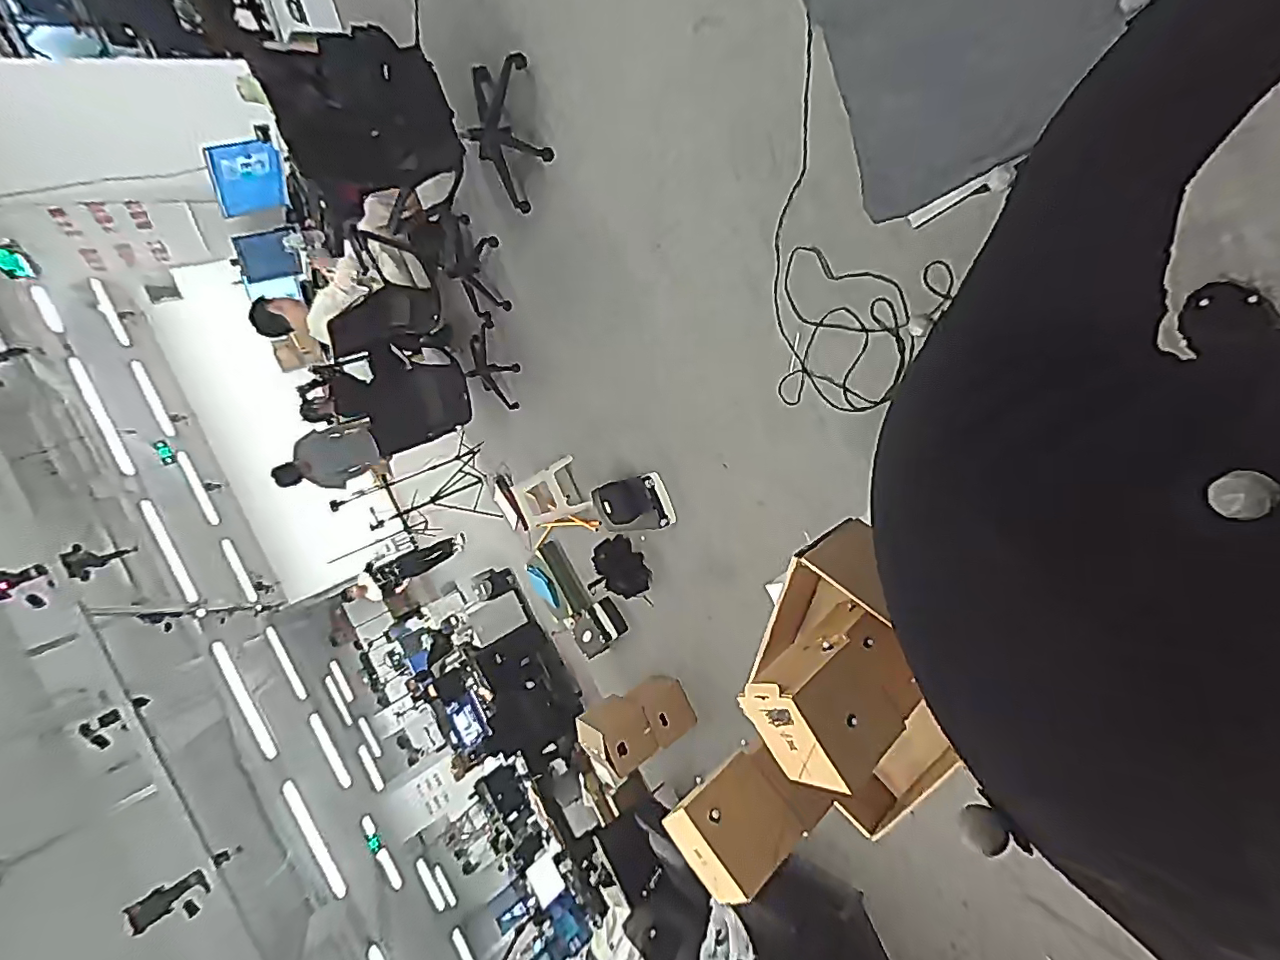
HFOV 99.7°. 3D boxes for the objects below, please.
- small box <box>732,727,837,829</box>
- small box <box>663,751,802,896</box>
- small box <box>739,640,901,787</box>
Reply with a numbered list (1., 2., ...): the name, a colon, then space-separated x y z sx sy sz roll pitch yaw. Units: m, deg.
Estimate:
1. small box: 0.304 0.611 1.149 0.168 0.176 0.179 48 145 19
2. small box: 0.177 0.660 1.054 0.179 0.176 0.168 47 145 22
3. small box: 0.317 0.400 0.962 0.179 0.176 0.168 57 151 4
